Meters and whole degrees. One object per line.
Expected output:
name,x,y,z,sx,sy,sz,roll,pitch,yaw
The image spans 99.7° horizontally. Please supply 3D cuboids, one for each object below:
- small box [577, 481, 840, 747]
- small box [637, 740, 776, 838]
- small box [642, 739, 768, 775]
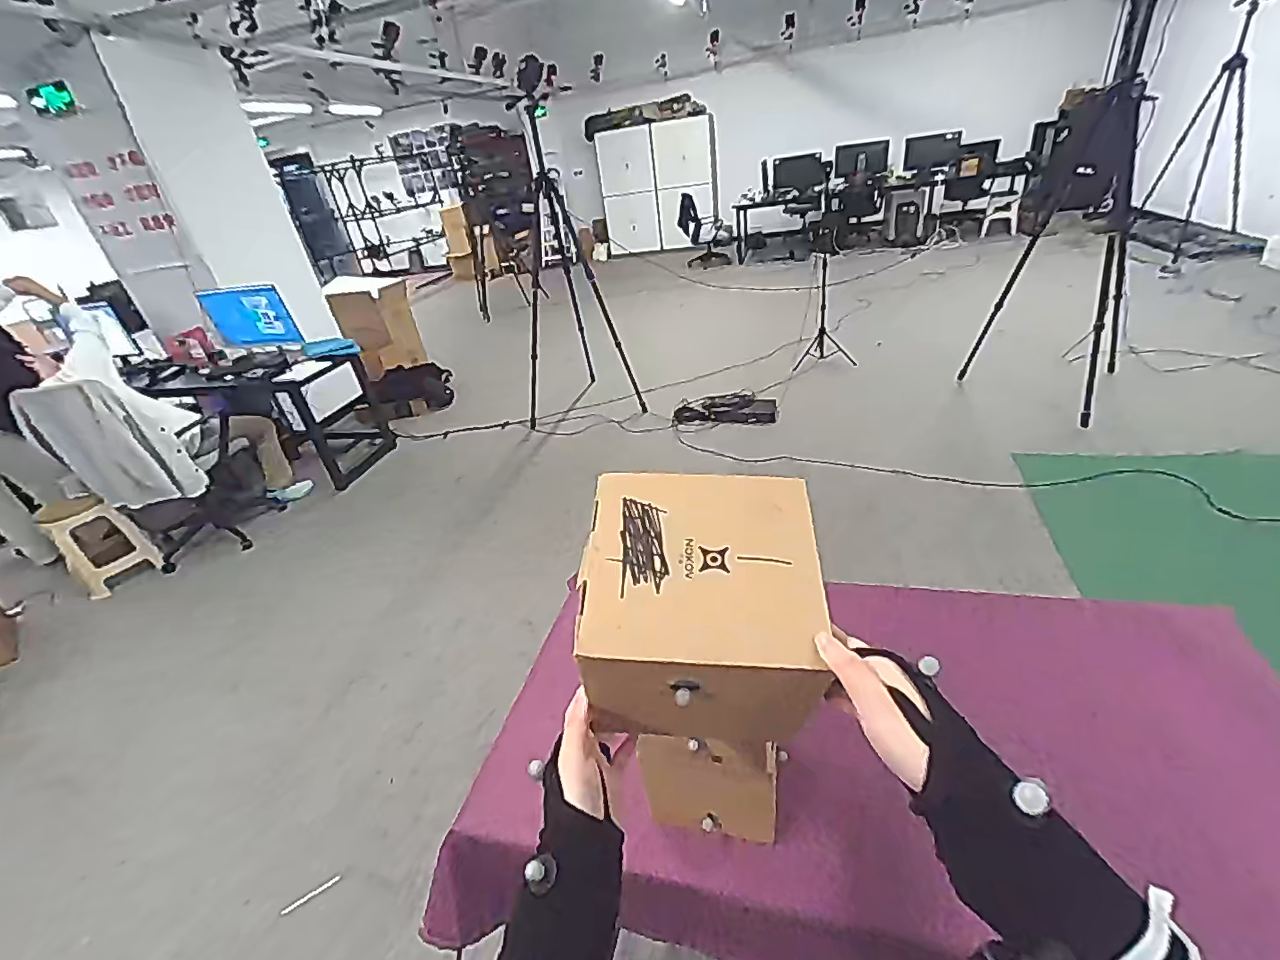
small box,0.050,0.118,0.465,0.179,0.176,0.168,2,50,2
small box,0.107,0.387,0.788,0.179,0.176,0.168,1,32,15
small box,0.086,0.245,0.707,0.168,0.176,0.179,0,32,17
